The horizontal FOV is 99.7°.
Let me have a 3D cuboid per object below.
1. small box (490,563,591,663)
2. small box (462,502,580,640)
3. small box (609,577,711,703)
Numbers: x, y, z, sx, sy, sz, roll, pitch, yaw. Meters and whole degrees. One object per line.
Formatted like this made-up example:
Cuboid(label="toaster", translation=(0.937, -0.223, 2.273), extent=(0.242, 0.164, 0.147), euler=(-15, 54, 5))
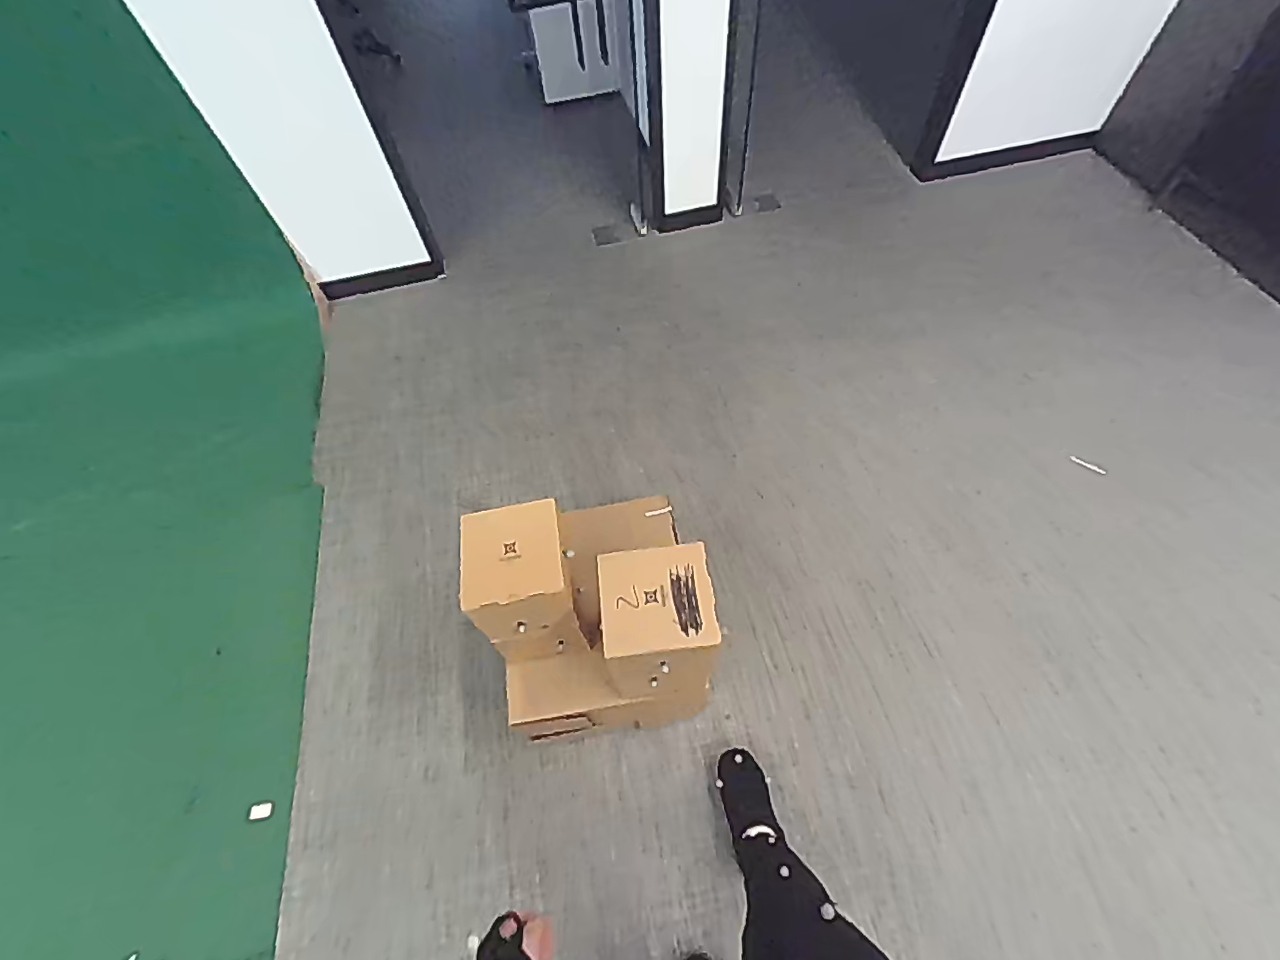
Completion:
Cuboid(label="small box", translation=(-0.197, 0.257, 1.090), extent=(0.168, 0.176, 0.179), euler=(-10, 56, -2))
Cuboid(label="small box", translation=(-0.205, 0.164, 0.955), extent=(0.168, 0.176, 0.179), euler=(-10, 58, -2))
Cuboid(label="small box", translation=(0.035, 0.308, 1.034), extent=(0.168, 0.176, 0.179), euler=(-8, 56, -1))
